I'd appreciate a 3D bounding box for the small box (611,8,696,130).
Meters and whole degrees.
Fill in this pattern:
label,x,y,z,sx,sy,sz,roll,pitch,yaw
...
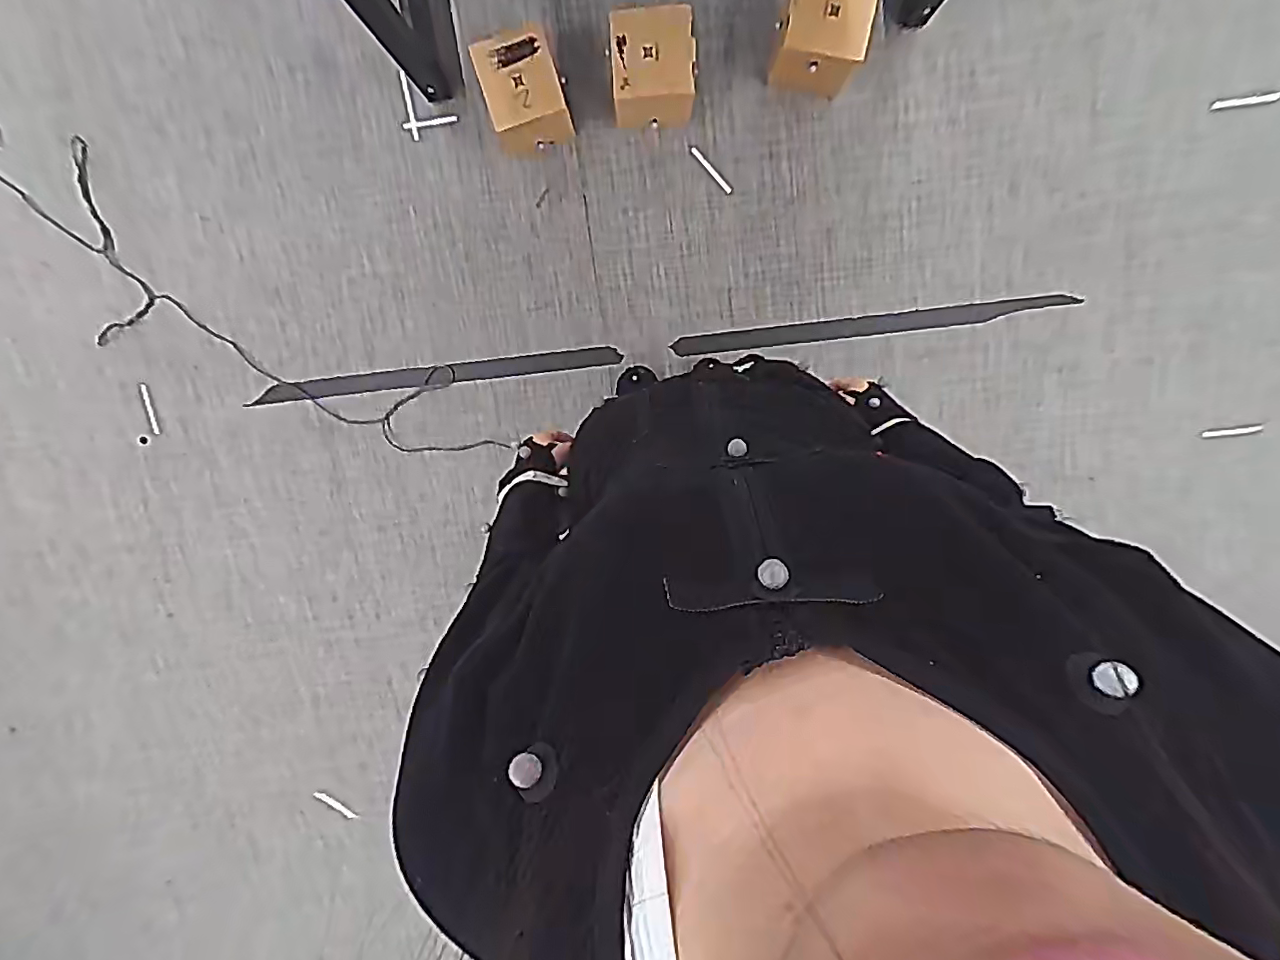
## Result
label,x,y,z,sx,sy,sz,roll,pitch,yaw
small box,0.029,-0.917,1.220,0.179,0.176,0.168,-3,103,1

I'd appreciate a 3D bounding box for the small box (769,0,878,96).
label,x,y,z,sx,sy,sz,roll,pitch,yaw
small box,0.402,-0.988,1.198,0.179,0.176,0.168,10,103,0
